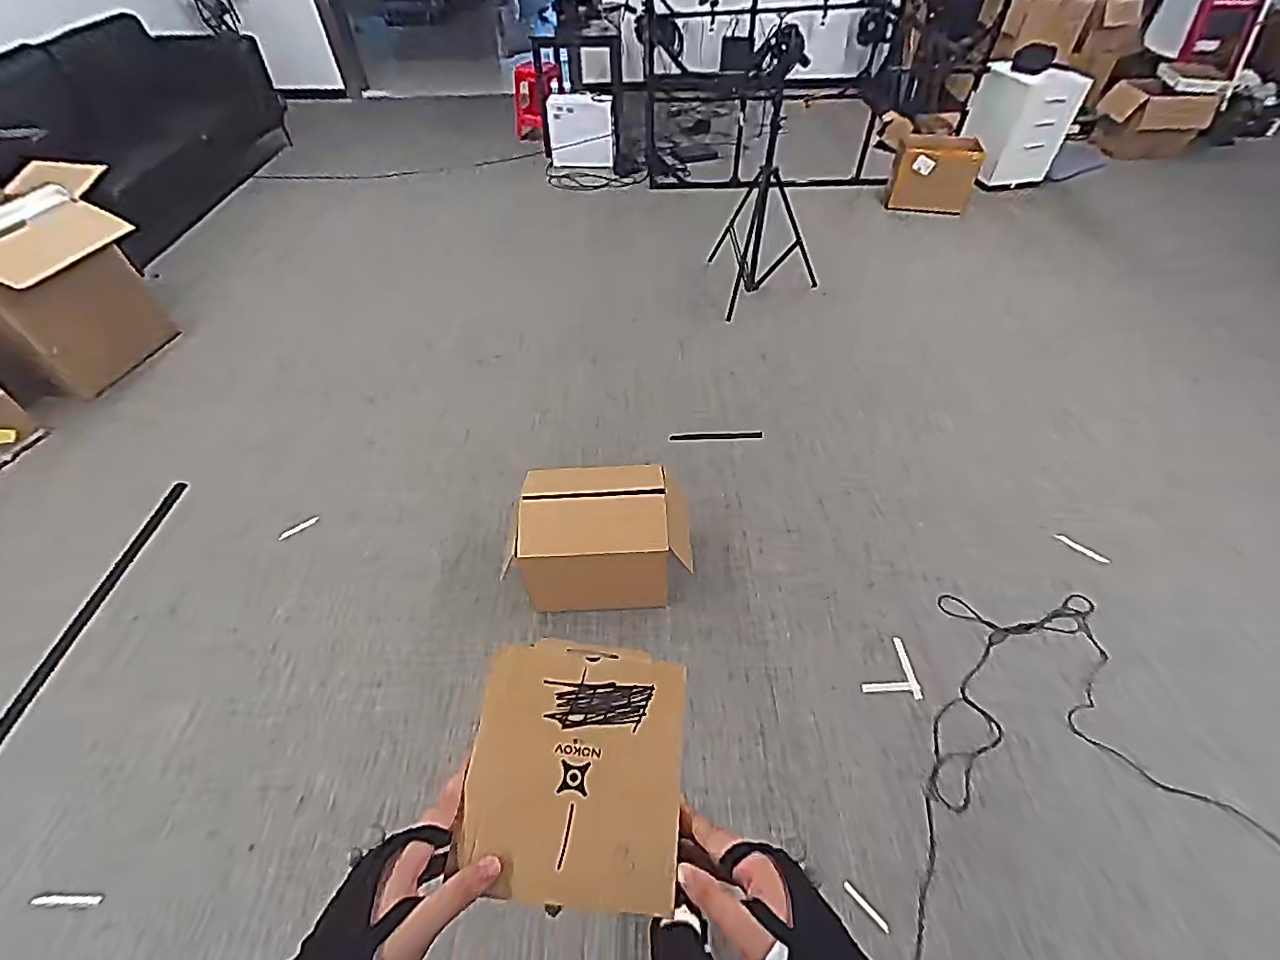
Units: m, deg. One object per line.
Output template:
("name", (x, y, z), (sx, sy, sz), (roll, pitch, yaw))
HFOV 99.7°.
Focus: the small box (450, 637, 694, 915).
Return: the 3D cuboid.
("small box", (-0.050, 0.260, 0.484), (0.168, 0.176, 0.179), (8, 57, -1))
